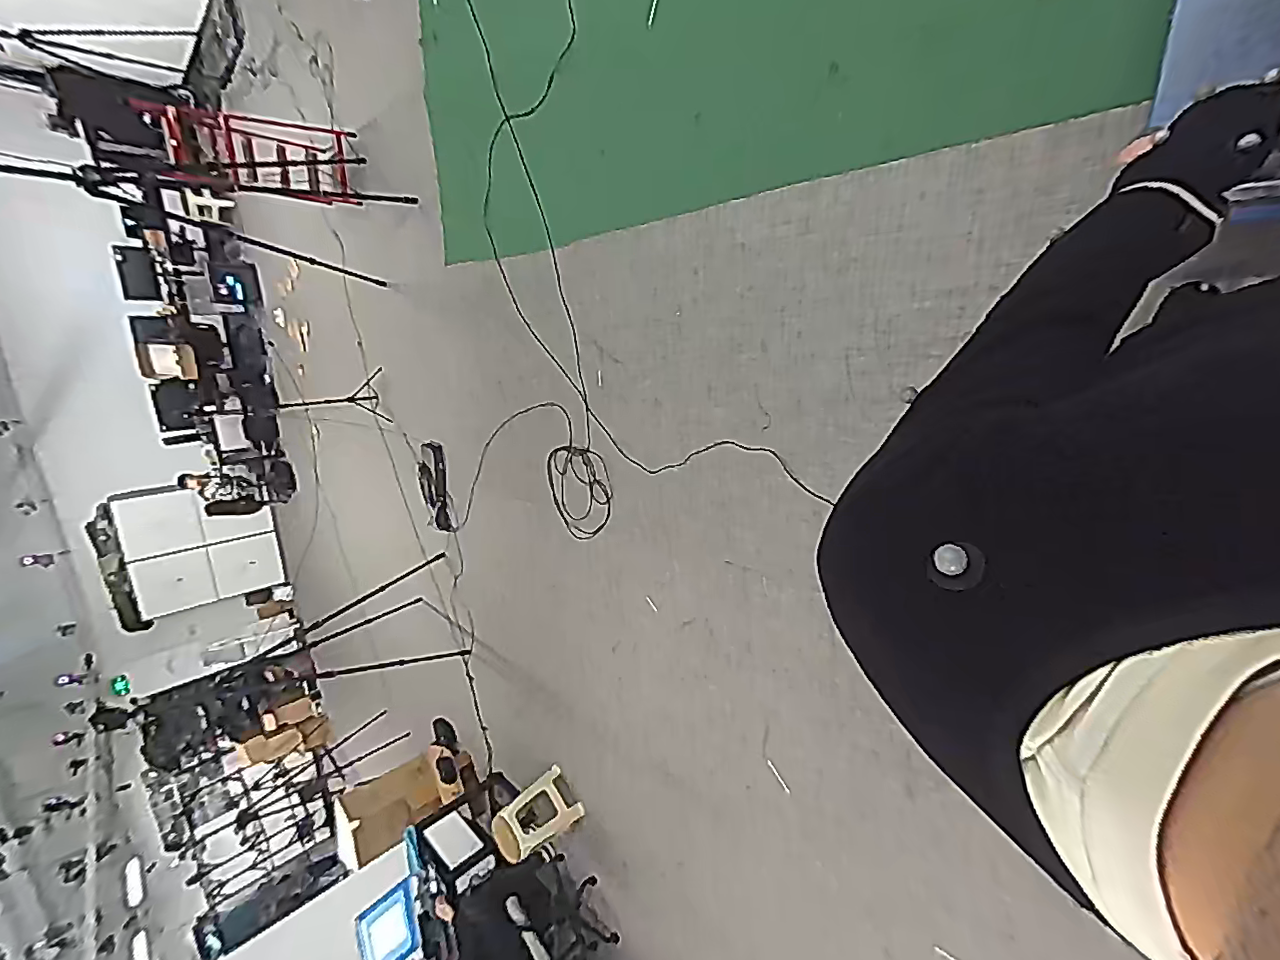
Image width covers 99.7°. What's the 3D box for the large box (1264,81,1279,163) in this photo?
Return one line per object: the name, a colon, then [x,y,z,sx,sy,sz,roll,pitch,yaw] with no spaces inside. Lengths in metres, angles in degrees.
large box: [1.066,-0.683,0.675,0.320,0.320,0.408,14,109,42]
